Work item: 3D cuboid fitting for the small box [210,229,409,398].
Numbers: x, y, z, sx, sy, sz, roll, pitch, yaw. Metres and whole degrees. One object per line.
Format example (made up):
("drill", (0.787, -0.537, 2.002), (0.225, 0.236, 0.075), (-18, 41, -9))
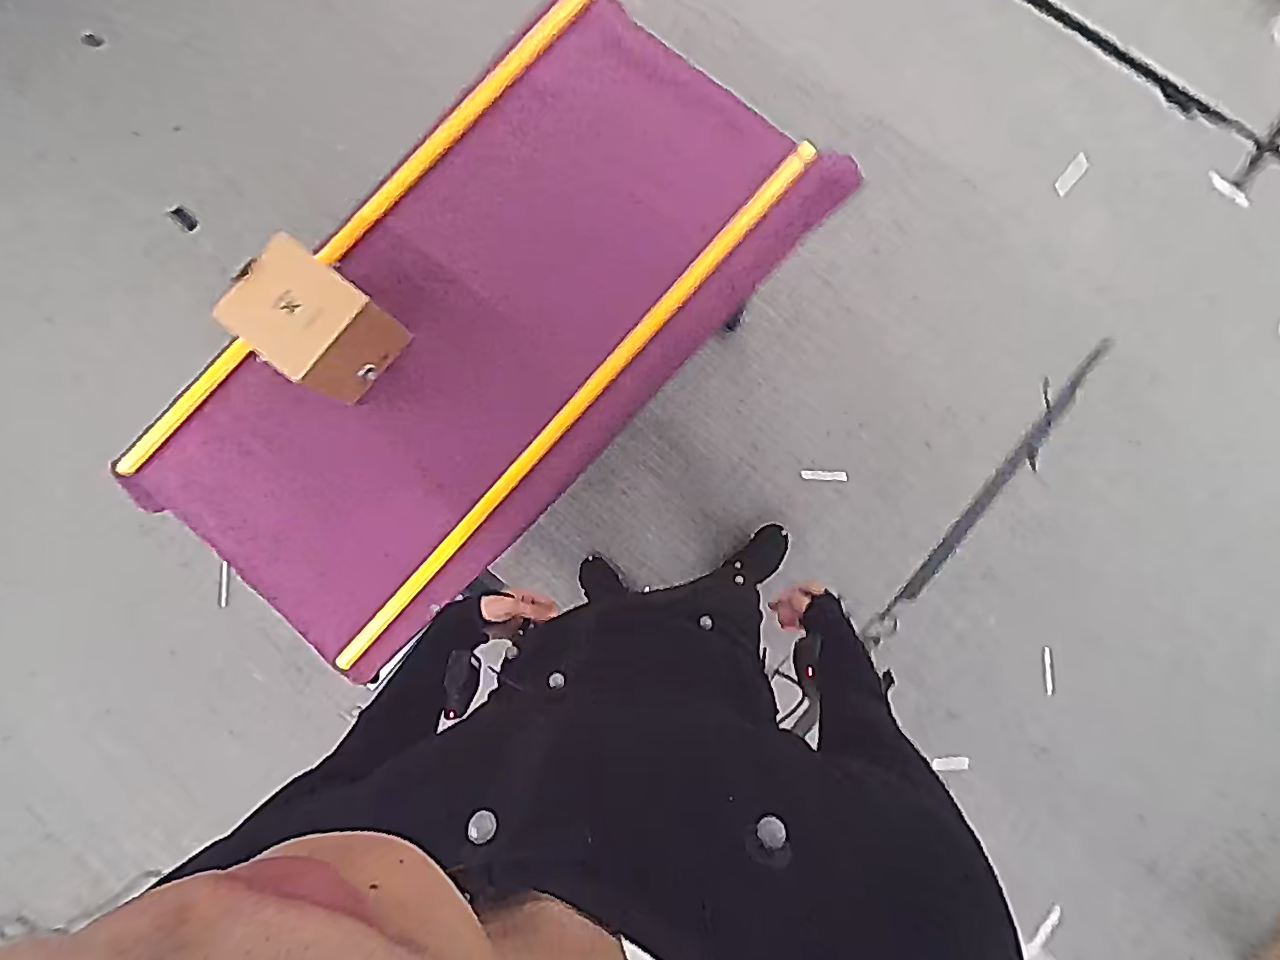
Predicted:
("small box", (-0.520, -0.255, 0.877), (0.179, 0.176, 0.168), (38, 87, 3))
